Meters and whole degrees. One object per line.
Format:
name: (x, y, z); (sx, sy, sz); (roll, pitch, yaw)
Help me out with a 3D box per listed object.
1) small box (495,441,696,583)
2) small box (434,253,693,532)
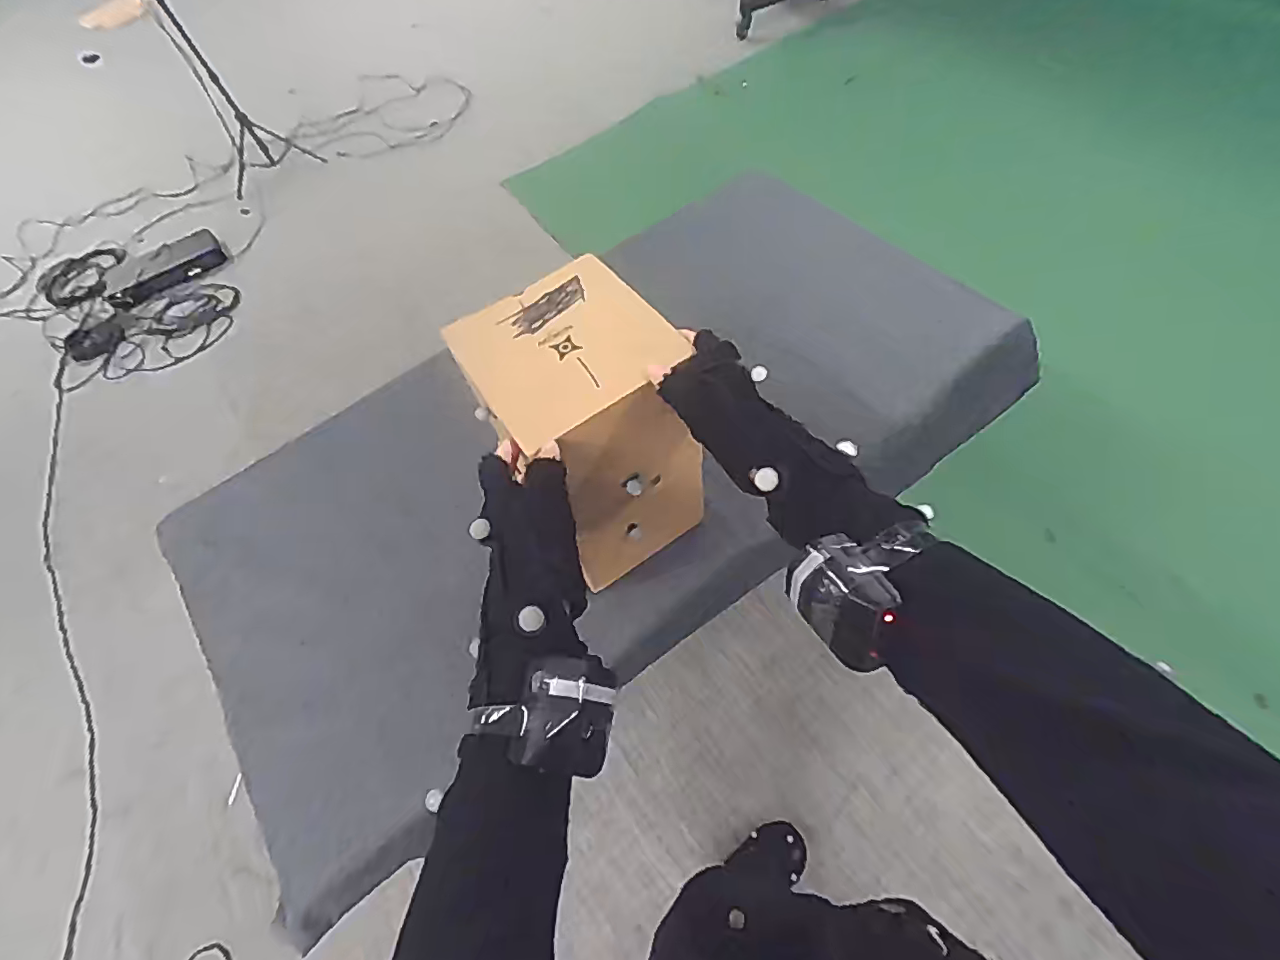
small box: (-0.044, 0.000, 0.675); (0.179, 0.176, 0.168); (-34, 61, -11)
small box: (-0.064, -0.080, 0.533); (0.168, 0.176, 0.179); (-36, 60, -12)
